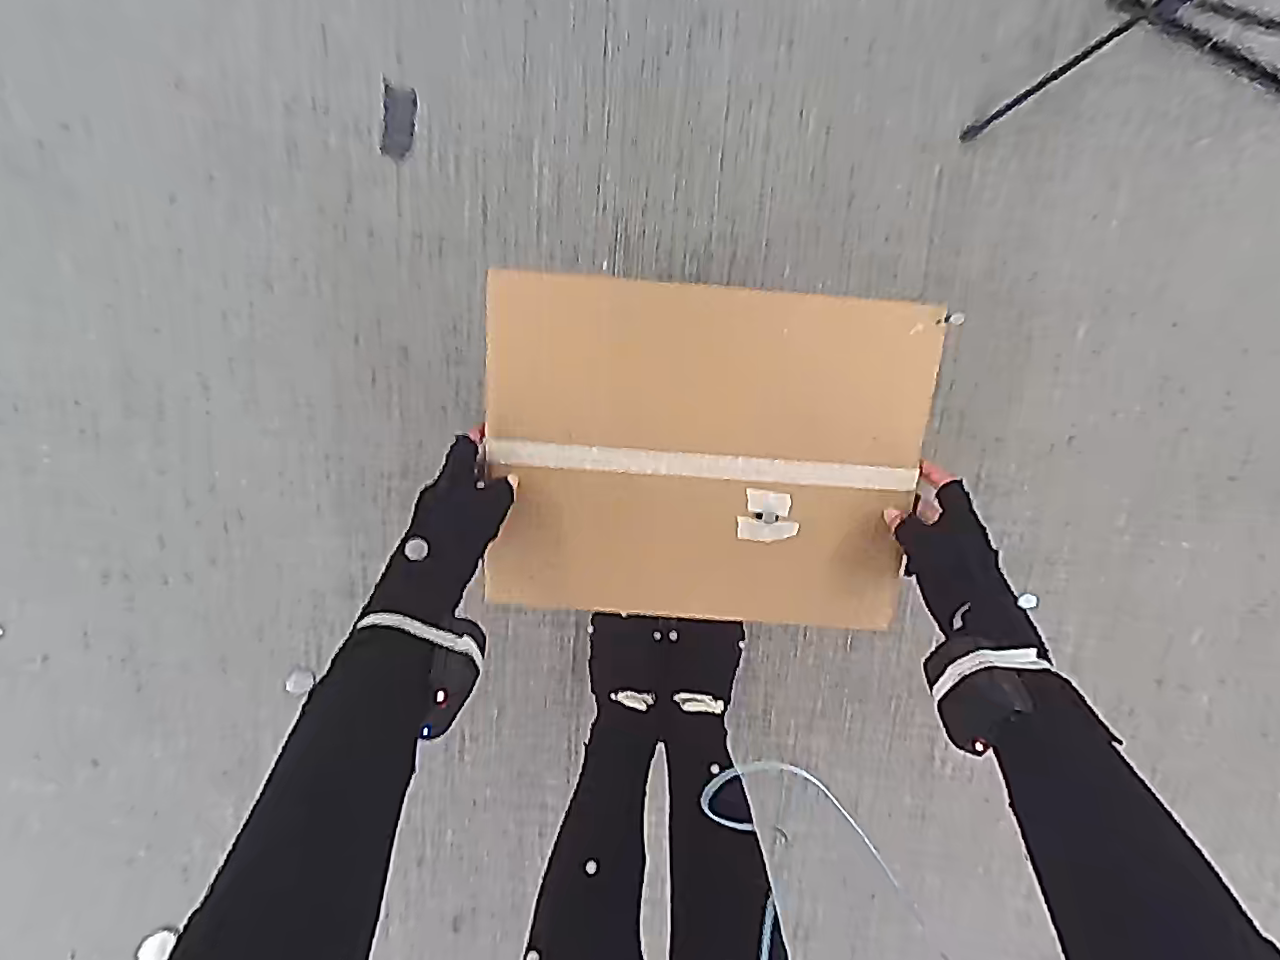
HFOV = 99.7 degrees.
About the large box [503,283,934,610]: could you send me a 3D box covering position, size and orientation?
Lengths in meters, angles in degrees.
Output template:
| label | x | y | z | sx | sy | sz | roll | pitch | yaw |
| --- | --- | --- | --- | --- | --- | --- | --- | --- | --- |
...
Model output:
| label | x | y | z | sx | sy | sz | roll | pitch | yaw |
| --- | --- | --- | --- | --- | --- | --- | --- | --- | --- |
| large box | 0.064 | -0.055 | 0.672 | 0.408 | 0.320 | 0.320 | 3 | 104 | -1 |
